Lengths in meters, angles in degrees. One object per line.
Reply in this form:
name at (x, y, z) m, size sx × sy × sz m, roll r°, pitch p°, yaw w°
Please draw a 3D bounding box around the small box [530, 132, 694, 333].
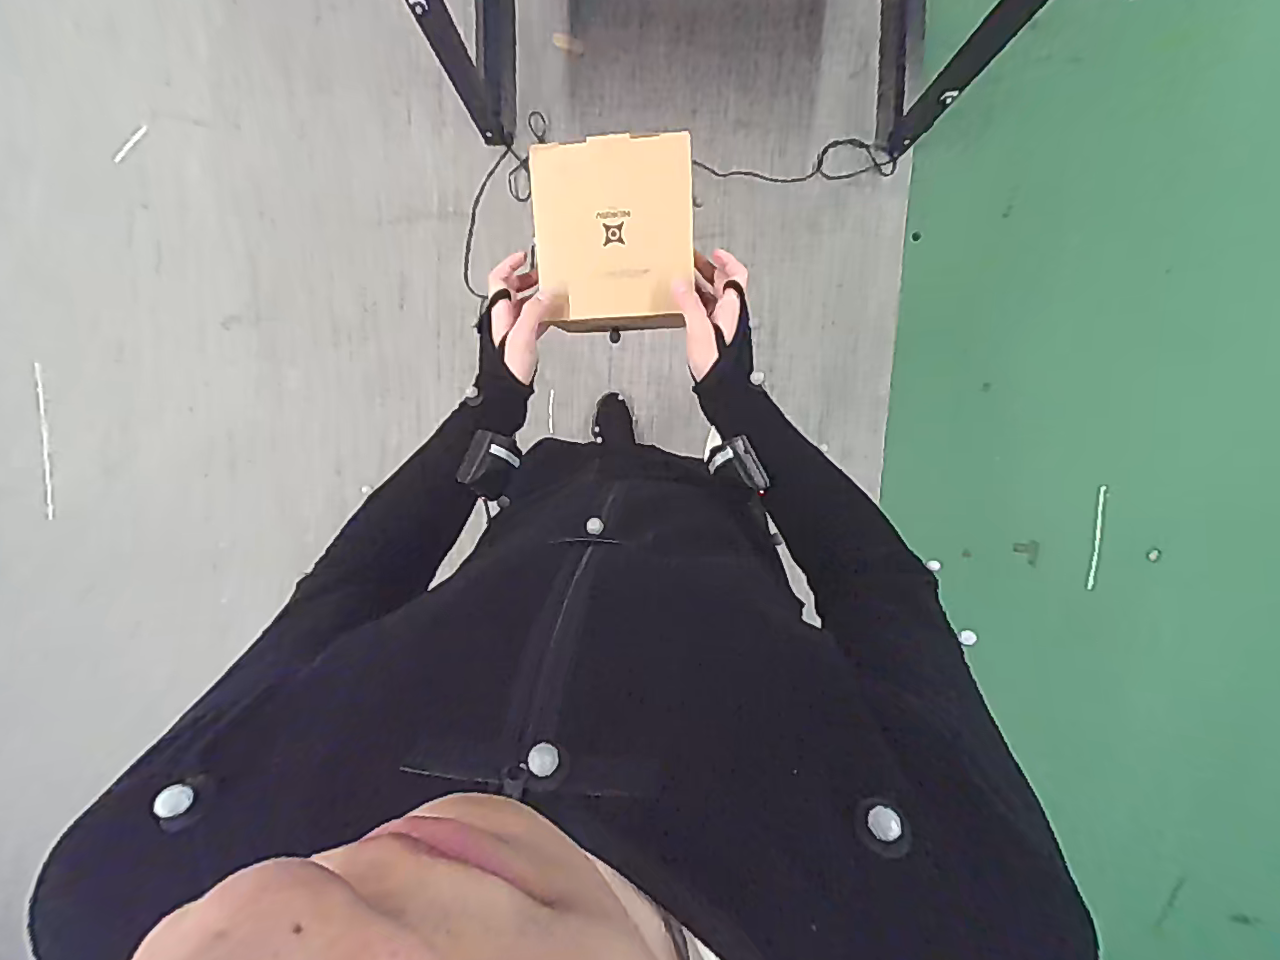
small box at (-0.023, -0.272, 0.632) m, size 0.168 × 0.176 × 0.179 m, roll -1°, pitch 100°, yaw 5°
